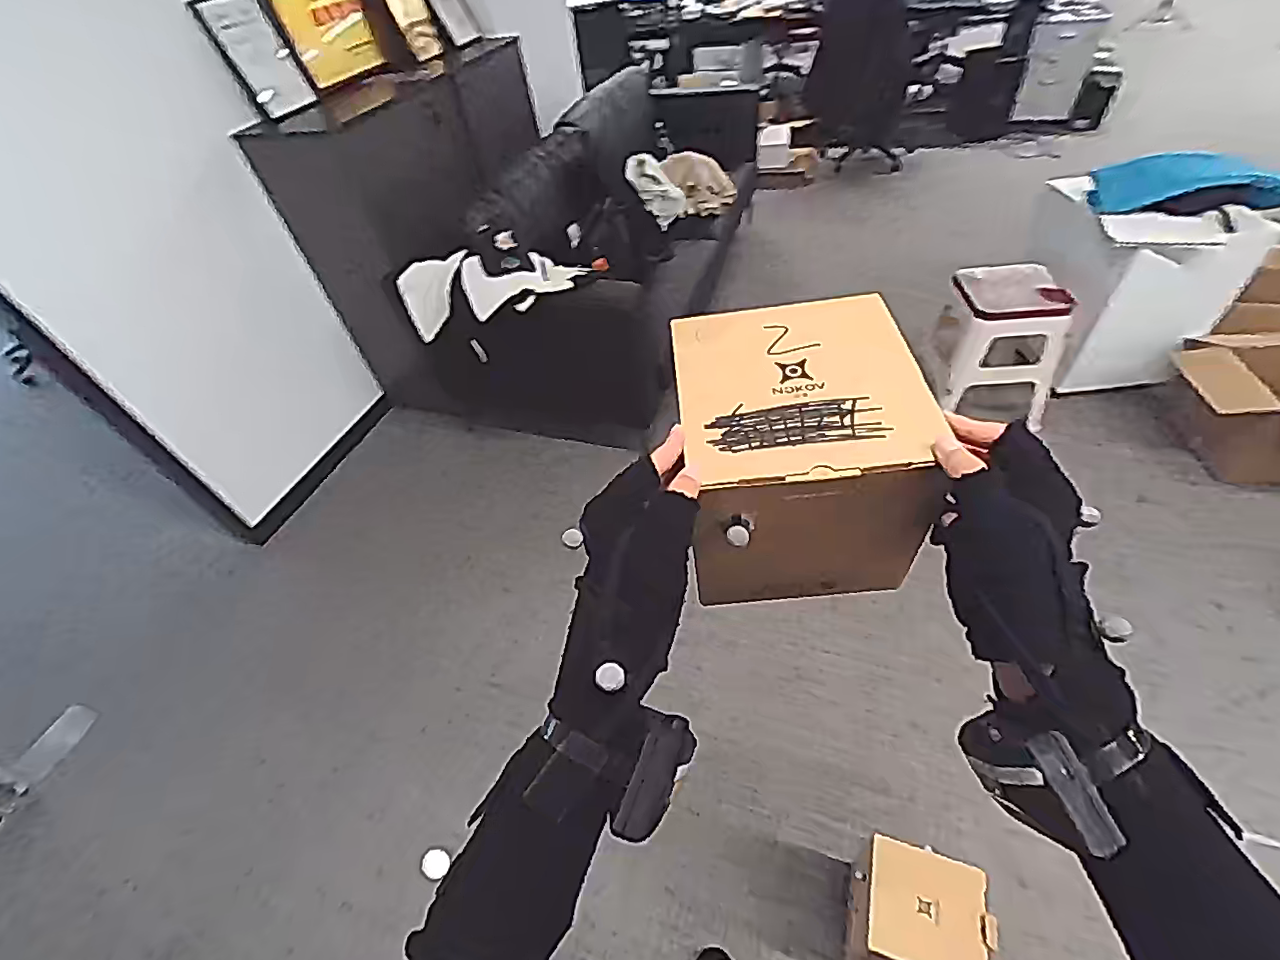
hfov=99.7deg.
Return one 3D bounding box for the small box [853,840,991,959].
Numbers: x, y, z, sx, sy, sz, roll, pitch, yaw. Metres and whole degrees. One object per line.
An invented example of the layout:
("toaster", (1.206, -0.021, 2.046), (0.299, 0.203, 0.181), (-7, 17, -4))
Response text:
("small box", (0.471, 0.752, 0.922), (0.179, 0.176, 0.168), (10, 50, 18))
